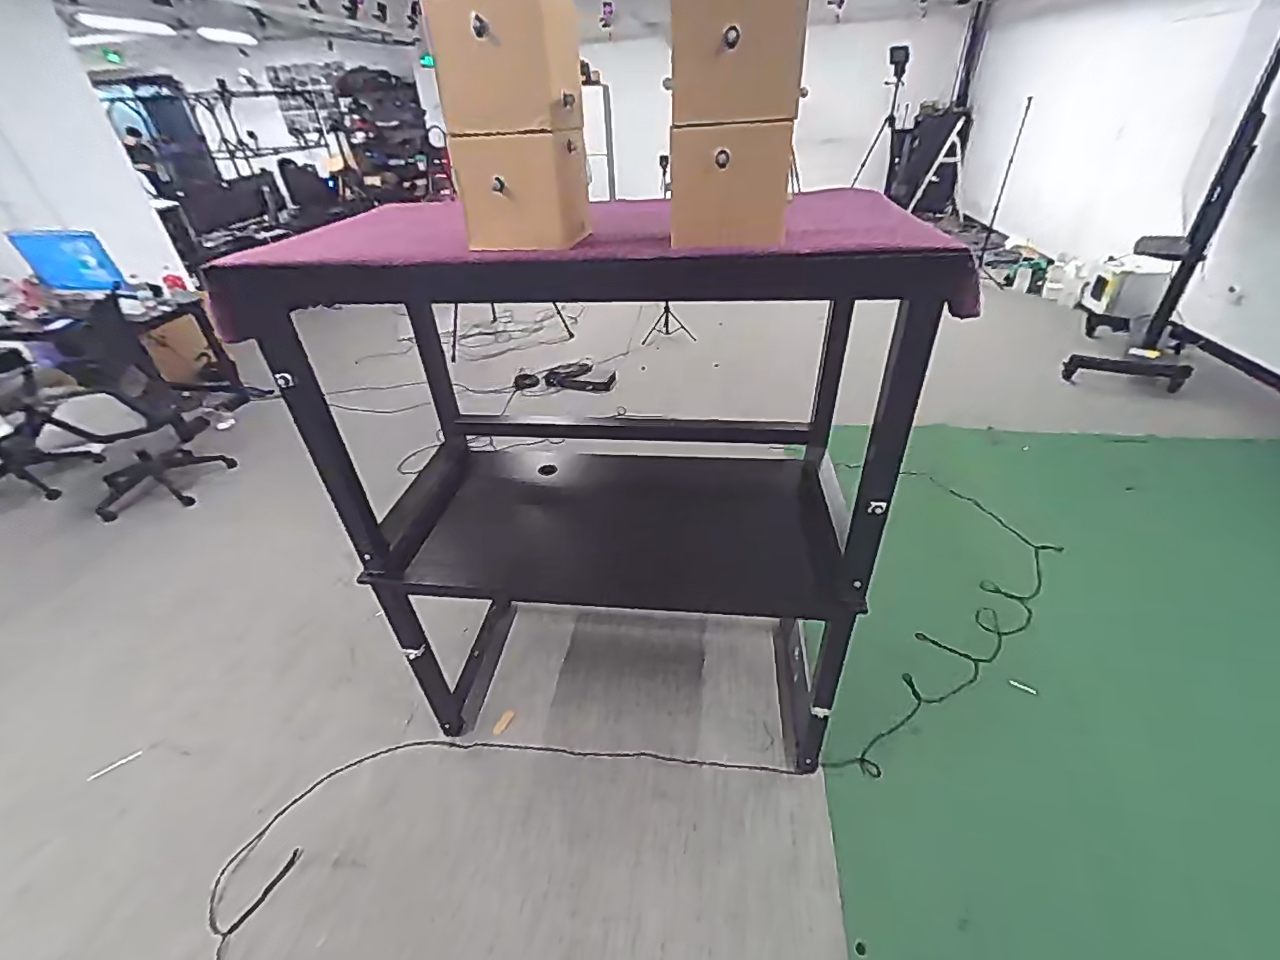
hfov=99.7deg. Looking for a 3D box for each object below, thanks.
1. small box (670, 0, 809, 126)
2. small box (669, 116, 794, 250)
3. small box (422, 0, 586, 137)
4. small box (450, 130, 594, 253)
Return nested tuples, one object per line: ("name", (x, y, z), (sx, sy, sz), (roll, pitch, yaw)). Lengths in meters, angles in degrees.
("small box", (0.136, -0.607, 0.766), (0.179, 0.176, 0.168), (0, 35, 7))
("small box", (0.143, -0.472, 0.859), (0.179, 0.176, 0.168), (2, 36, 8))
("small box", (-0.194, -0.626, 0.827), (0.179, 0.176, 0.168), (5, 35, 11))
("small box", (-0.188, -0.490, 0.918), (0.179, 0.176, 0.168), (3, 35, 11))
